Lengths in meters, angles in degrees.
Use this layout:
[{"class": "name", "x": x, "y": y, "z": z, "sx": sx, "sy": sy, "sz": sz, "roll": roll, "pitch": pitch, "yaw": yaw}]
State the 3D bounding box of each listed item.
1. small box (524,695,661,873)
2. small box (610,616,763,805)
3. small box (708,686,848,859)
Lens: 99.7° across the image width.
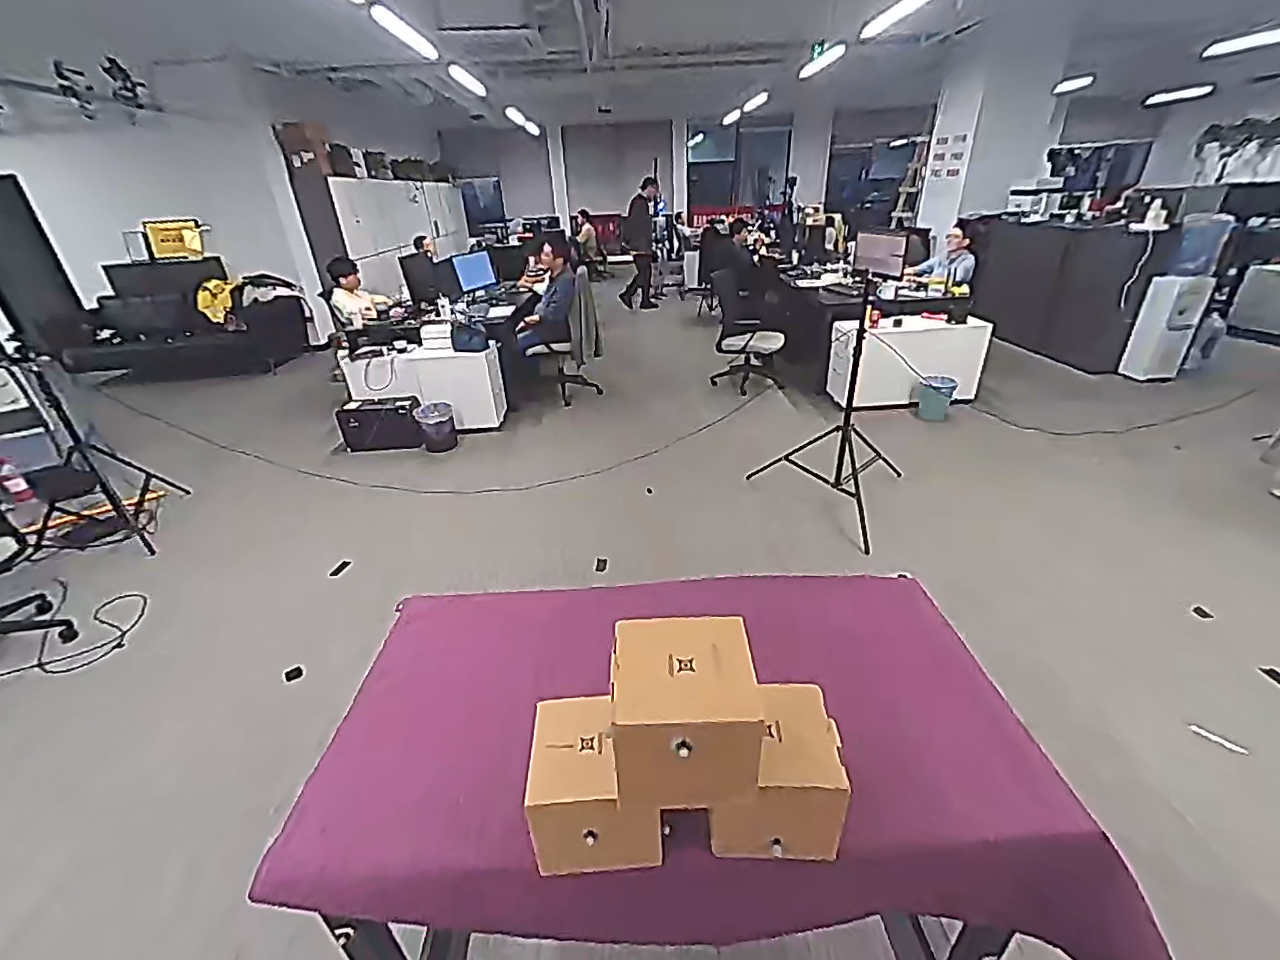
[{"class": "small box", "x": -0.061, "y": 0.444, "z": 0.798, "sx": 0.179, "sy": 0.176, "sz": 0.168, "roll": -5, "pitch": 27, "yaw": -1}, {"class": "small box", "x": 0.057, "y": 0.300, "z": 0.710, "sx": 0.179, "sy": 0.176, "sz": 0.168, "roll": -2, "pitch": 29, "yaw": 1}, {"class": "small box", "x": 0.190, "y": 0.430, "z": 0.803, "sx": 0.179, "sy": 0.176, "sz": 0.168, "roll": -2, "pitch": 27, "yaw": 4}]
